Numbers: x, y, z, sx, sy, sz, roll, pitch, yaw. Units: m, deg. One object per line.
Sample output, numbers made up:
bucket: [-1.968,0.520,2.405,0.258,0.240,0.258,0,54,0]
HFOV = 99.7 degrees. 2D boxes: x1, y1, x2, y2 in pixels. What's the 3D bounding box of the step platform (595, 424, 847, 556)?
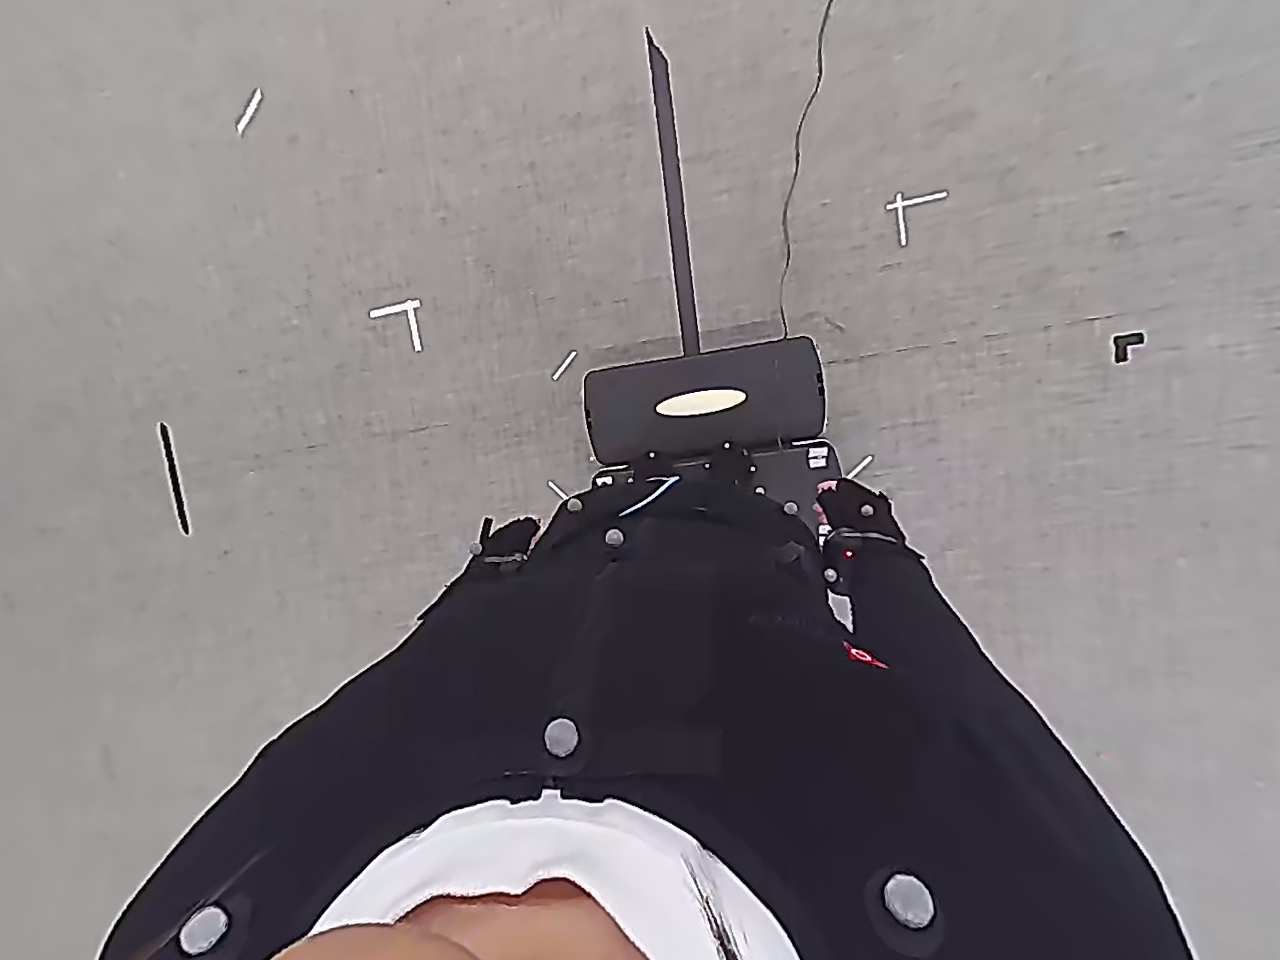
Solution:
step platform: [0.217,0.031,1.517,0.684,0.204,0.286,-8,93,10]
